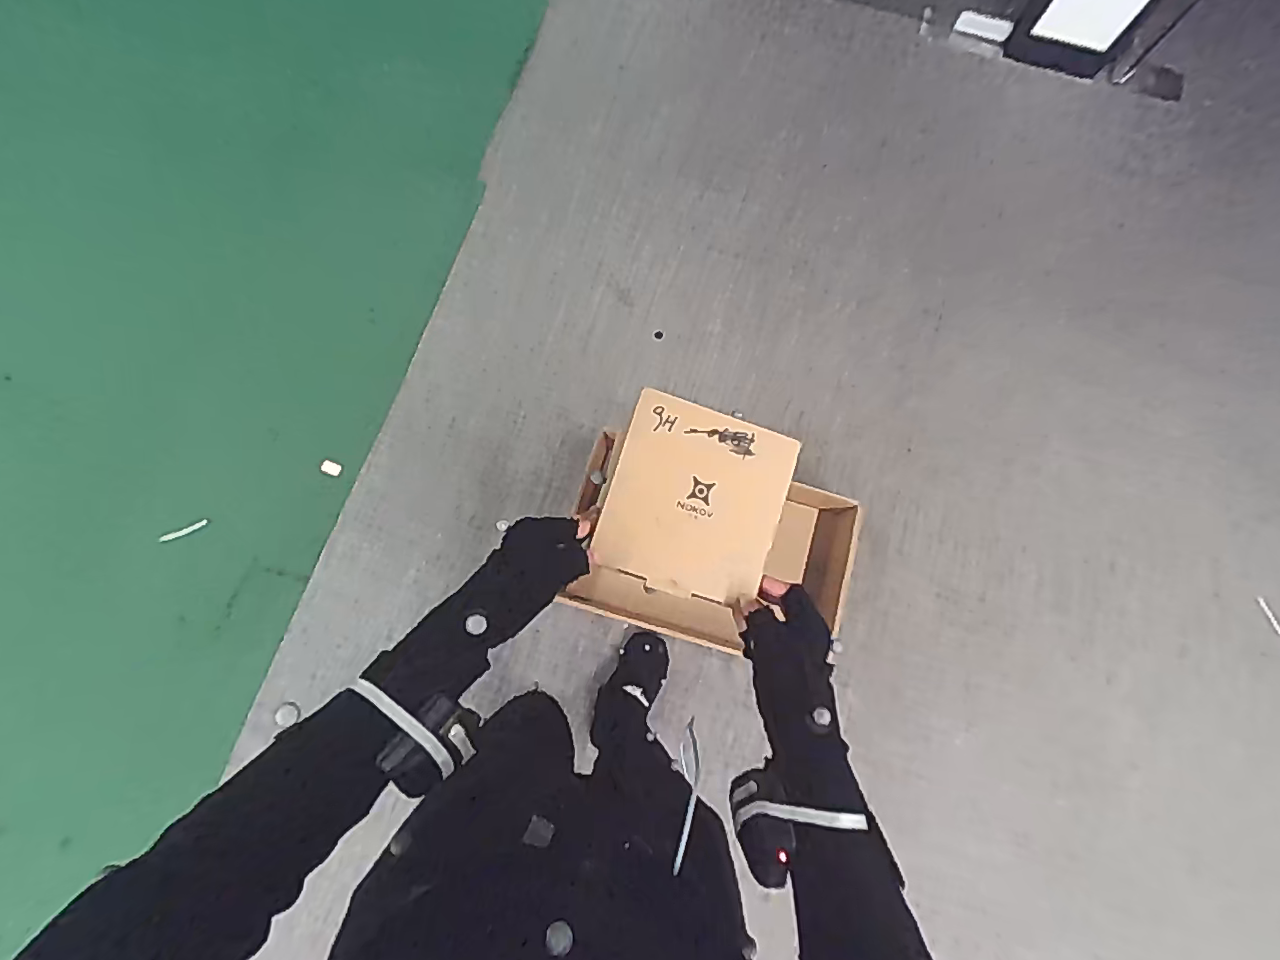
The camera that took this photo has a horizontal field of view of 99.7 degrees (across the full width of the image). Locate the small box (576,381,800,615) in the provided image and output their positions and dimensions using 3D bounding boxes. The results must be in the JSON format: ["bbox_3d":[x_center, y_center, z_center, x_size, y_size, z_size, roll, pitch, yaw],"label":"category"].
[{"bbox_3d":[0.039,0.025,0.581,0.168,0.176,0.179,23,81,-5],"label":"small box"}]
